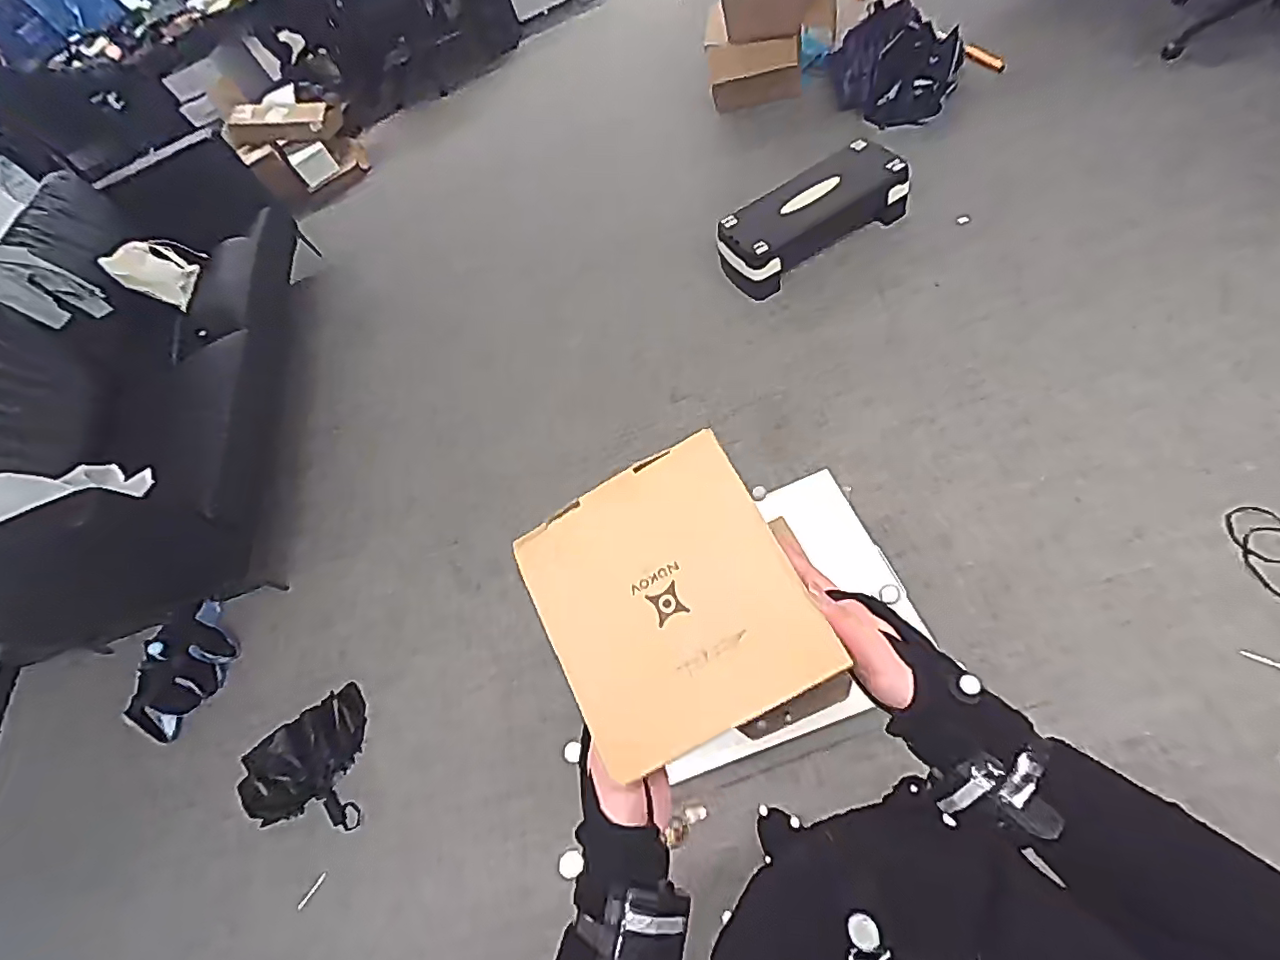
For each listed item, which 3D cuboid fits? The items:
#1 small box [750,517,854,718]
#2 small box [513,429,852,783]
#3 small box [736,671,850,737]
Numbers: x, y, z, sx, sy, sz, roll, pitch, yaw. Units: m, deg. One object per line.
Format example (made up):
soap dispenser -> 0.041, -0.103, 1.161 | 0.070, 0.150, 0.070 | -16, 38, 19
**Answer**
small box -> 0.145, 0.181, 0.673 | 0.168, 0.176, 0.179 | -25, 55, 3
small box -> 0.035, 0.094, 0.425 | 0.168, 0.176, 0.179 | -32, 72, 5
small box -> 0.190, 0.261, 0.810 | 0.168, 0.176, 0.179 | -26, 56, 3
